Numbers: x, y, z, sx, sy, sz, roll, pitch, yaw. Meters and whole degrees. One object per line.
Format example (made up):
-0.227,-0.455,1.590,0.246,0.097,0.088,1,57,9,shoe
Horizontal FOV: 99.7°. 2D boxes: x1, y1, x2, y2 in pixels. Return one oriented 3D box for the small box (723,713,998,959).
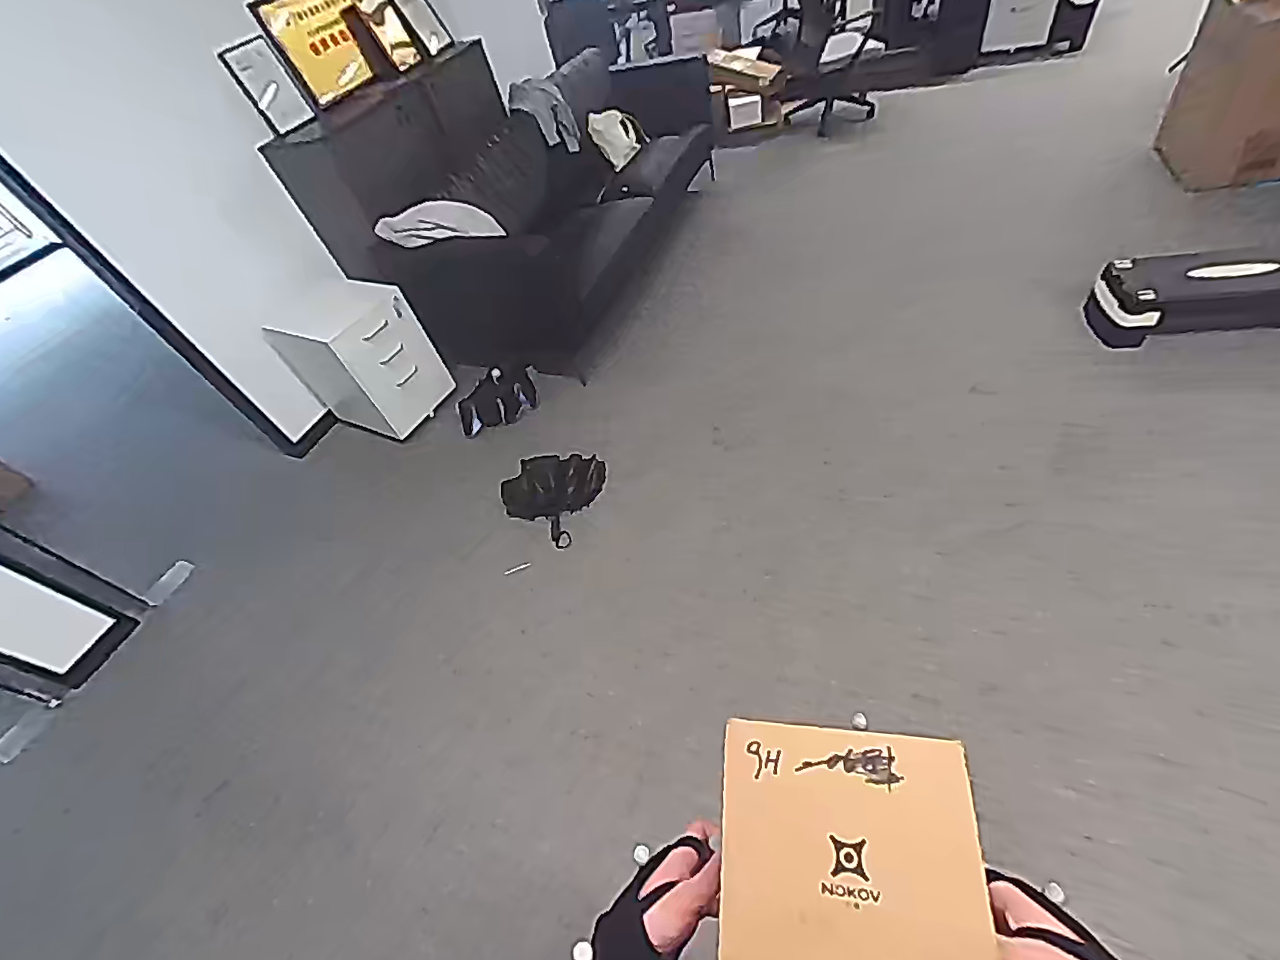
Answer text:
0.155,0.294,0.428,0.168,0.176,0.179,0,61,11,small box
